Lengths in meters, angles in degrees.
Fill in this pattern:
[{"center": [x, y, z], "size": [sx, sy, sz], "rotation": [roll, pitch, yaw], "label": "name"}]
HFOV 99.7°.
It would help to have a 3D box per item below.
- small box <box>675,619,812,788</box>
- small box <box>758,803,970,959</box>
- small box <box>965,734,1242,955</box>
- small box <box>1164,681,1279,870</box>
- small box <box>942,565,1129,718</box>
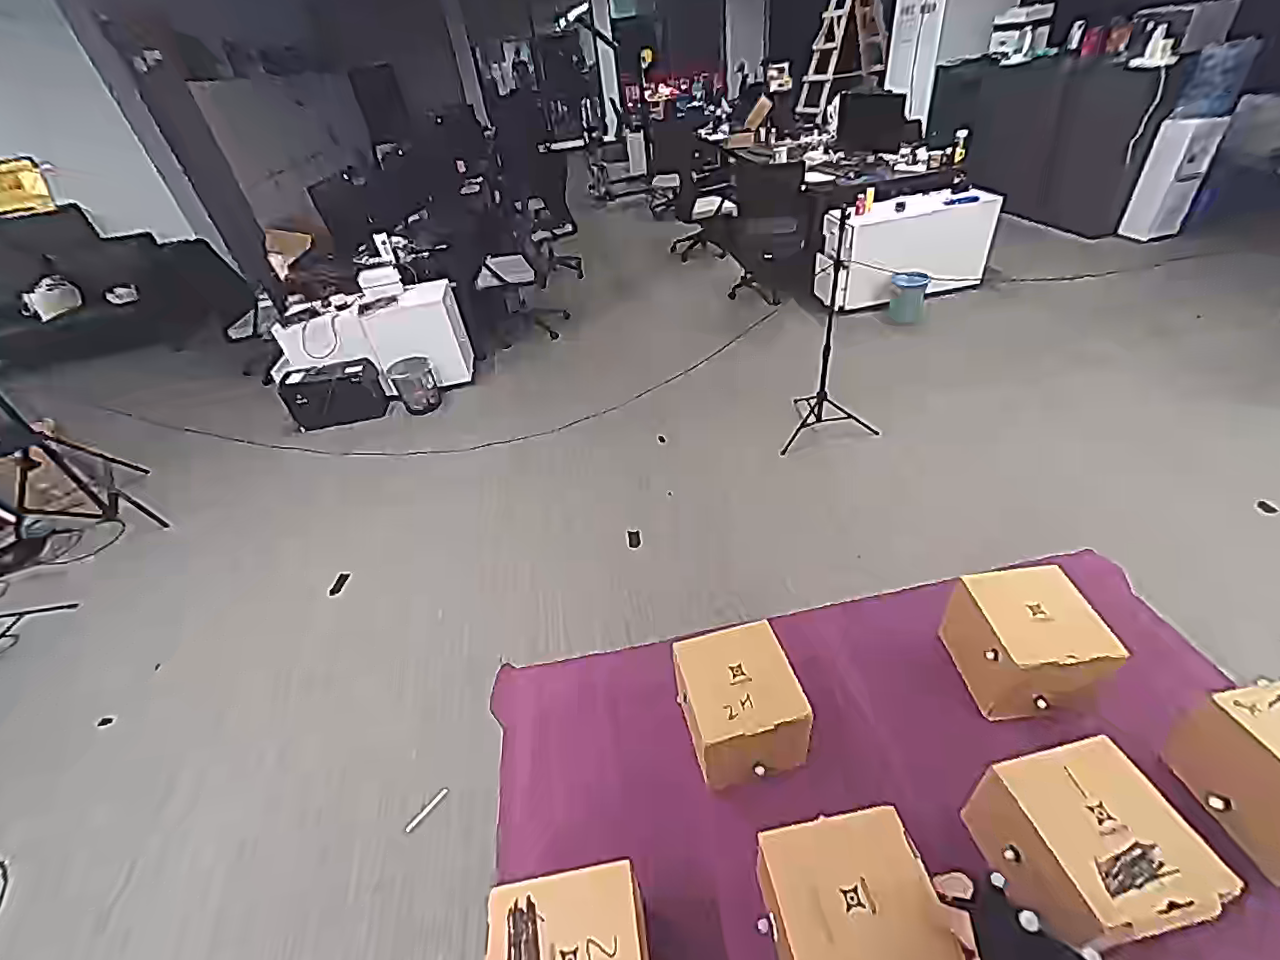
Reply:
[{"center": [0.160, 0.362, 0.880], "size": [0.168, 0.176, 0.179], "rotation": [-13, 39, -5], "label": "small box"}, {"center": [0.252, 0.526, 0.655], "size": [0.179, 0.176, 0.168], "rotation": [-10, 38, -3], "label": "small box"}, {"center": [0.552, 0.459, 0.678], "size": [0.168, 0.176, 0.179], "rotation": [-12, 38, -4], "label": "small box"}, {"center": [0.865, 0.386, 0.705], "size": [0.168, 0.176, 0.179], "rotation": [-10, 37, 0], "label": "small box"}, {"center": [0.638, 0.269, 0.904], "size": [0.168, 0.176, 0.179], "rotation": [-8, 40, 2], "label": "small box"}]
